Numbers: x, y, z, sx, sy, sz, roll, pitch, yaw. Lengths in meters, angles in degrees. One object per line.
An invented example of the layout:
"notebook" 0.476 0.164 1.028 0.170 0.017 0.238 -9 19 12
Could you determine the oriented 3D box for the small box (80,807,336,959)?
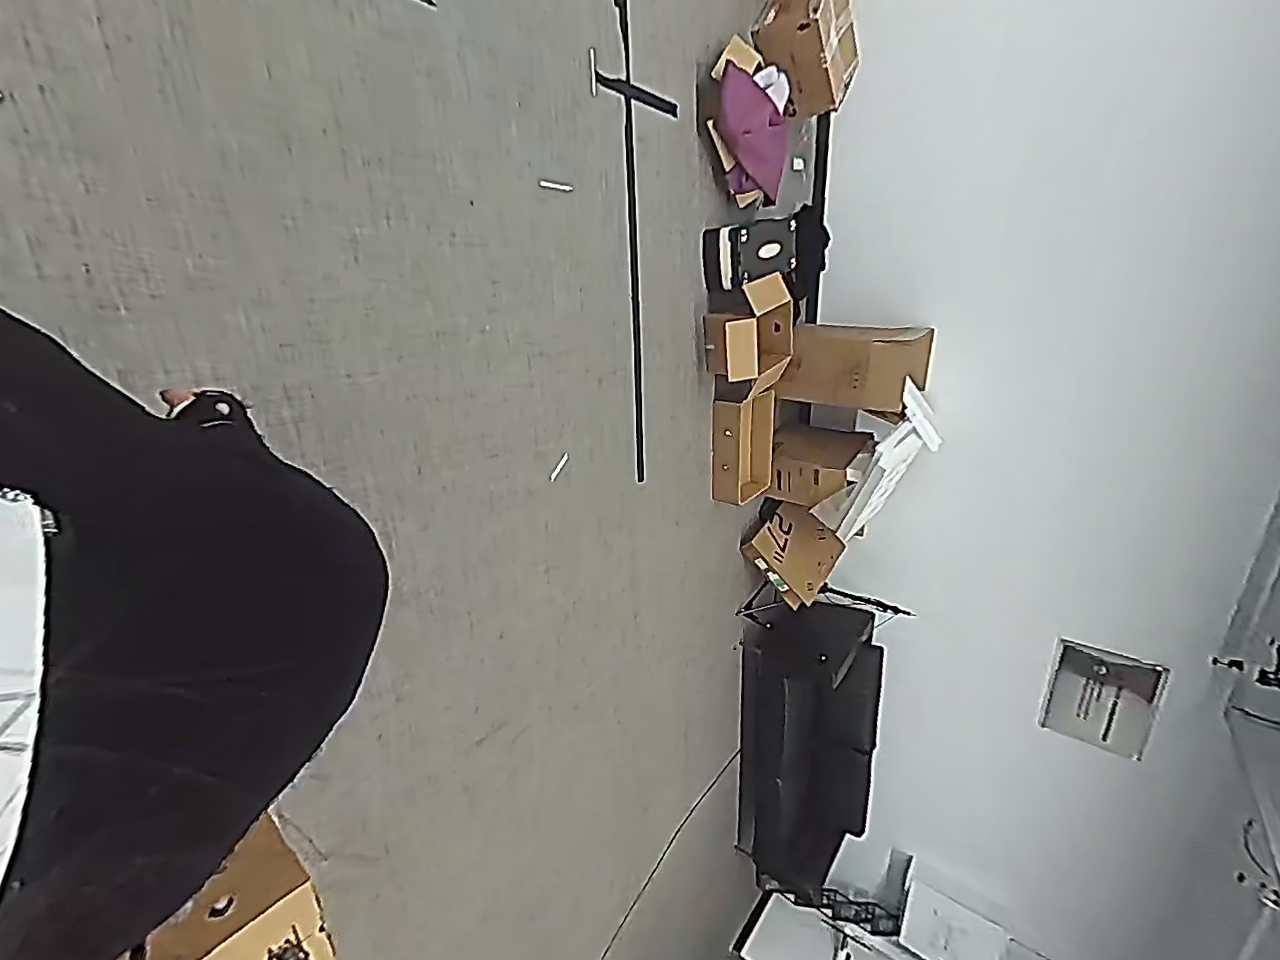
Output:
"small box" -0.492 0.532 0.626 0.179 0.176 0.168 -23 117 -47
